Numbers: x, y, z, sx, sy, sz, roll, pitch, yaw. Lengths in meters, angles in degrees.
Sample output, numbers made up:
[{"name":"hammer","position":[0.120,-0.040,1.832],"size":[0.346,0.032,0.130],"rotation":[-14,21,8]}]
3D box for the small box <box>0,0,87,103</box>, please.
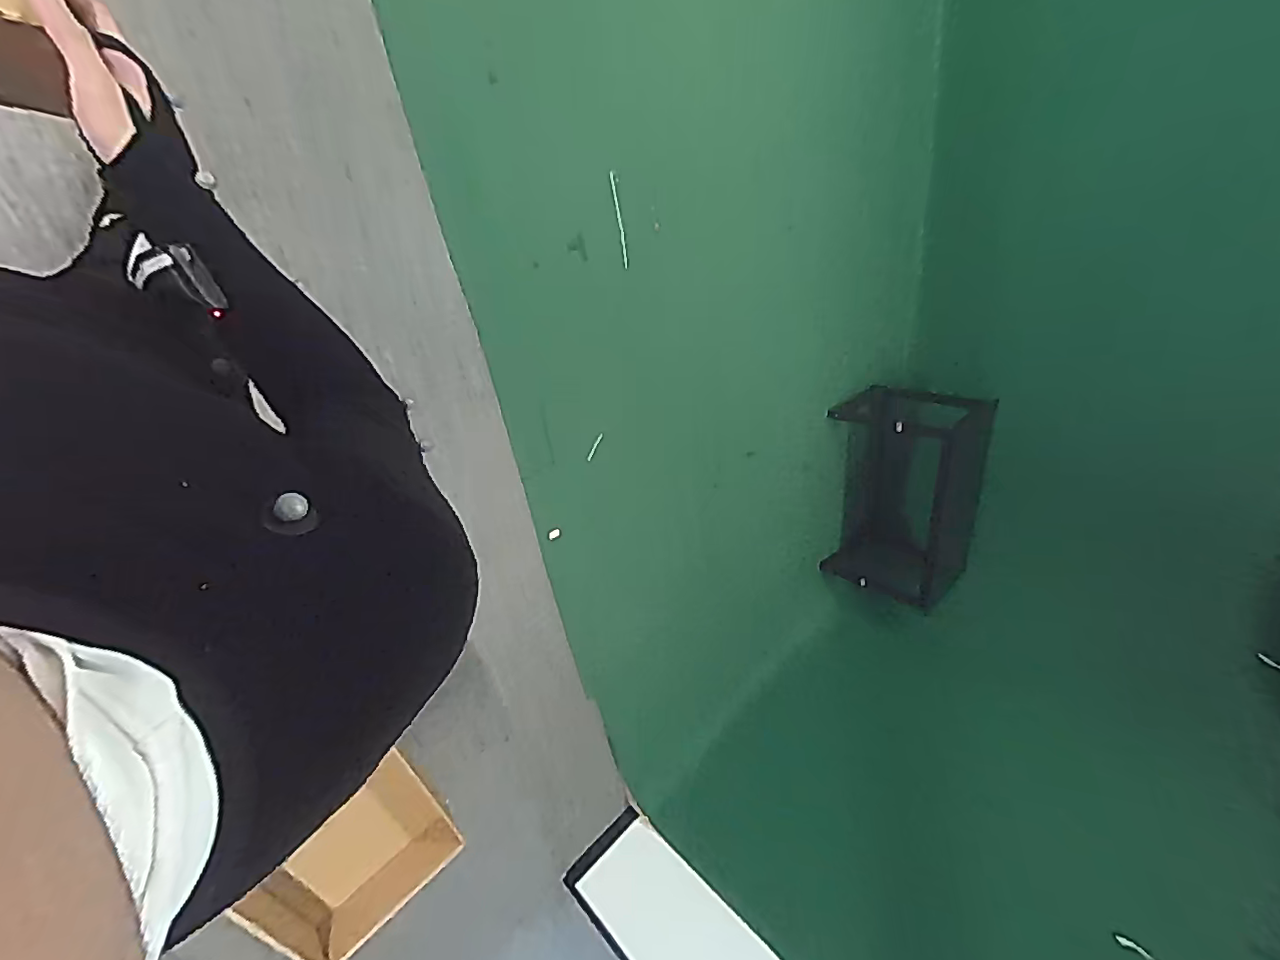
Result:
[{"name":"small box","position":[-0.522,-0.411,0.377],"size":[0.168,0.176,0.179],"rotation":[-13,105,-41]}]
